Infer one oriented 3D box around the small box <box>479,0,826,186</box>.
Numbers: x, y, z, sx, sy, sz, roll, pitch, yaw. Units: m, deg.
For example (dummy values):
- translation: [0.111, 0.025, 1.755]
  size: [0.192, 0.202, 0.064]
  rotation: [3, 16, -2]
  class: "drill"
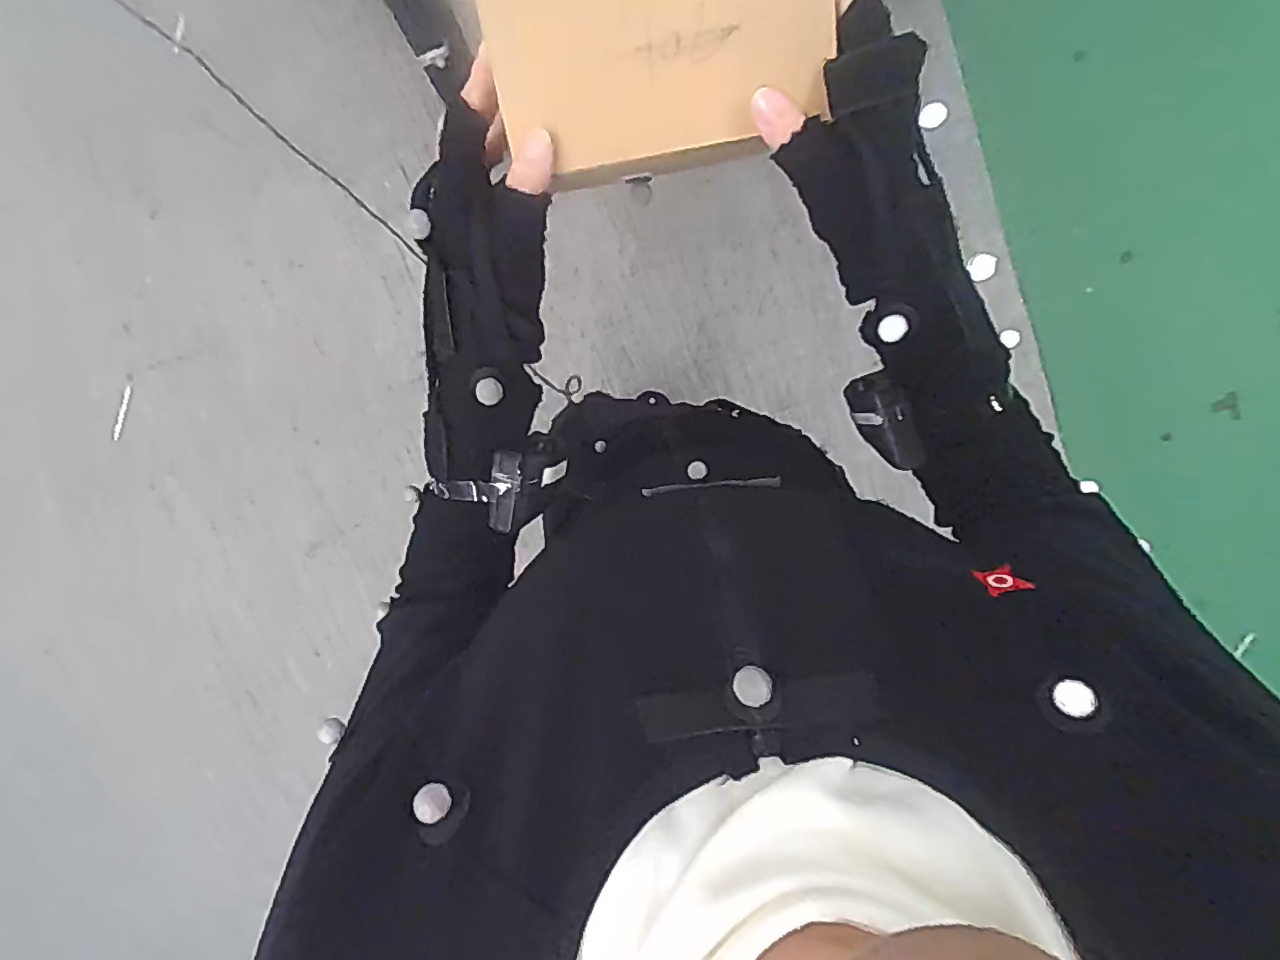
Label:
- translation: [-0.003, -0.286, 0.313]
  size: [0.168, 0.176, 0.179]
  rotation: [-9, 116, 1]
  class: "small box"
